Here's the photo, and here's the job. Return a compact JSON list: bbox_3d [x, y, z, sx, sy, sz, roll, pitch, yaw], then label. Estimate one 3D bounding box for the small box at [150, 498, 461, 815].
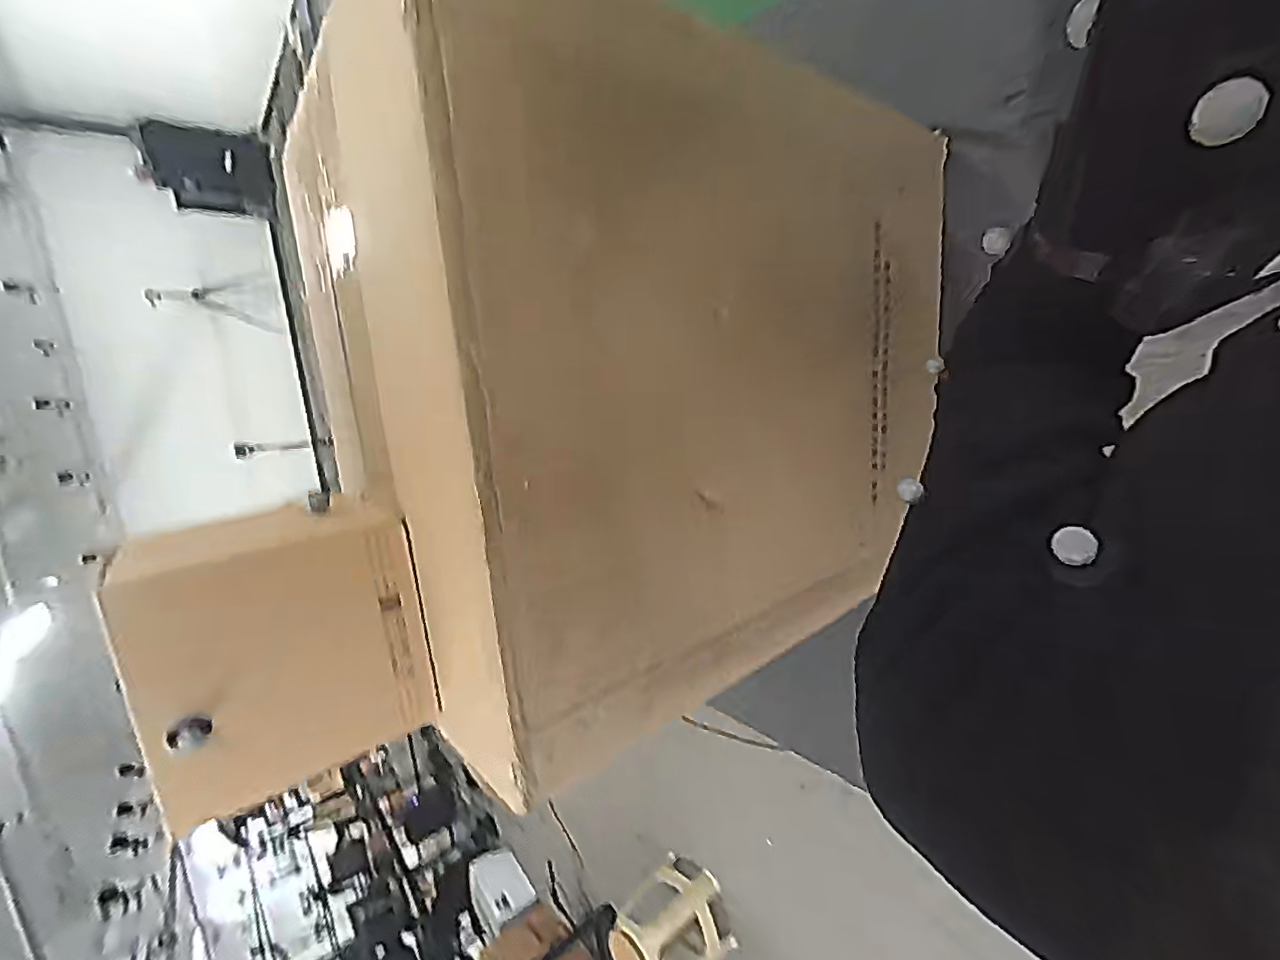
[{"bbox_3d":[-0.265,0.116,0.445,0.179,0.176,0.168,7,107,51],"label":"small box"}]
